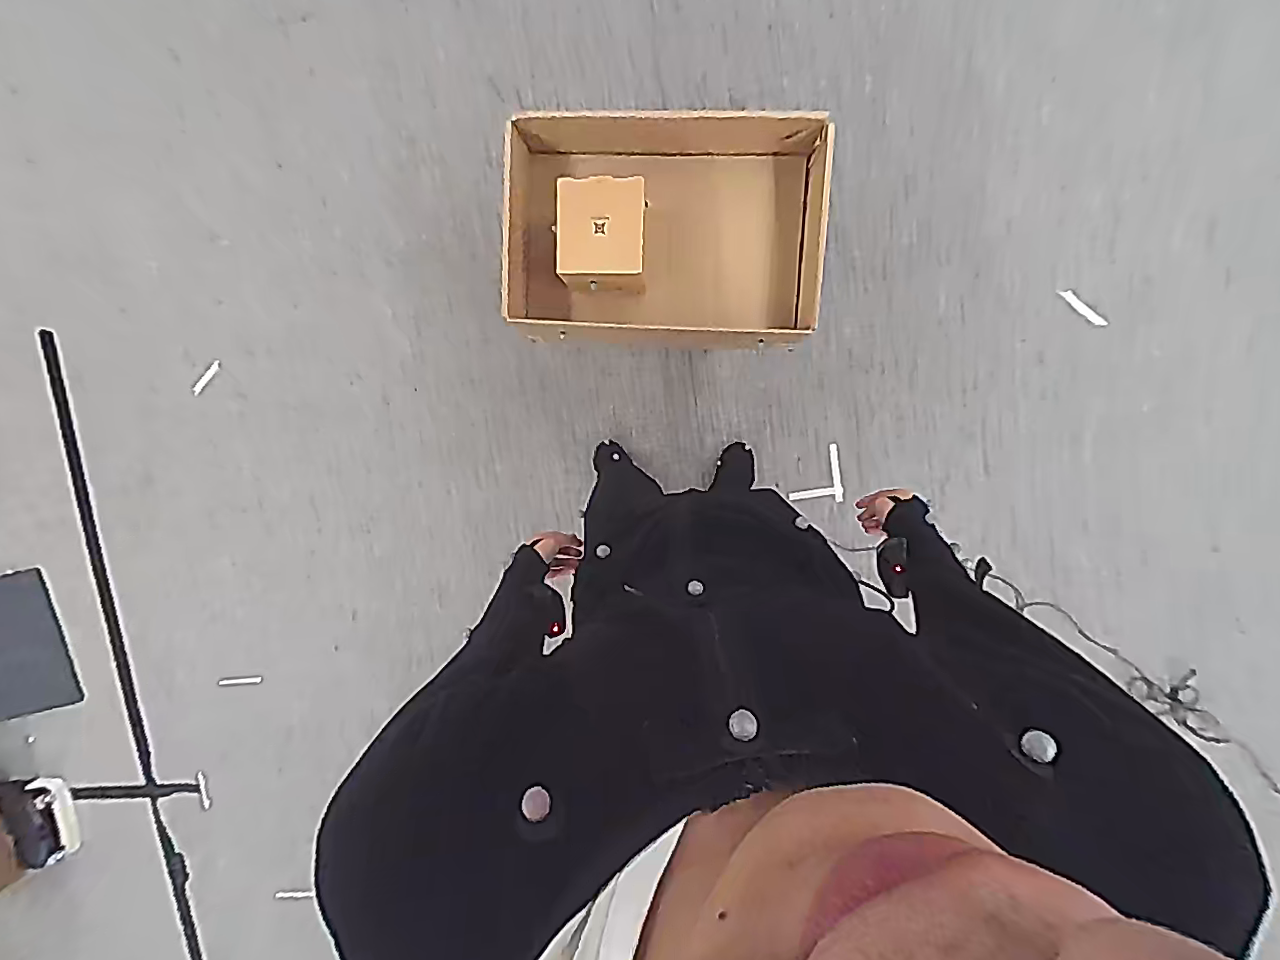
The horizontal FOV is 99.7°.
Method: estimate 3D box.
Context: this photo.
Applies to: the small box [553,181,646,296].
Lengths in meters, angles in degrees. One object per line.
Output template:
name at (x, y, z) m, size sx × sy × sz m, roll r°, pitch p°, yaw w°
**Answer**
small box at (-0.075, -0.473, 1.084) m, size 0.168 × 0.176 × 0.179 m, roll 2°, pitch 96°, yaw 4°
